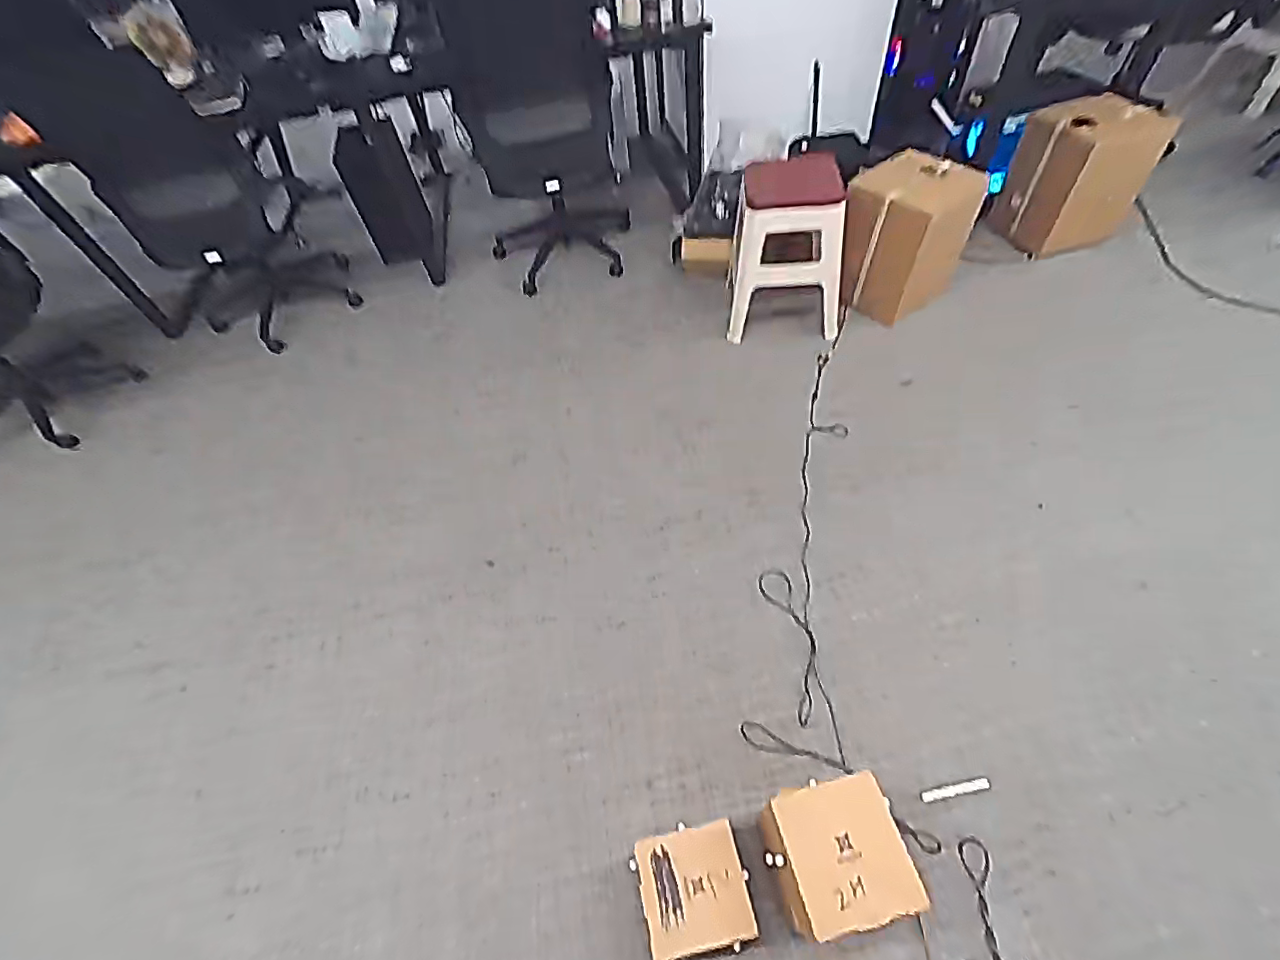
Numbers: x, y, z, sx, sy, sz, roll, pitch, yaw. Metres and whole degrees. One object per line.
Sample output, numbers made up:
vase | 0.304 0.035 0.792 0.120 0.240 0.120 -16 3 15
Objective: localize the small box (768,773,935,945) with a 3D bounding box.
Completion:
small box | 0.307 0.580 0.832 0.168 0.176 0.179 -14 53 -3

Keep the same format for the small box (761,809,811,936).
small box | 0.323 0.680 0.962 0.168 0.176 0.179 -13 53 -2
